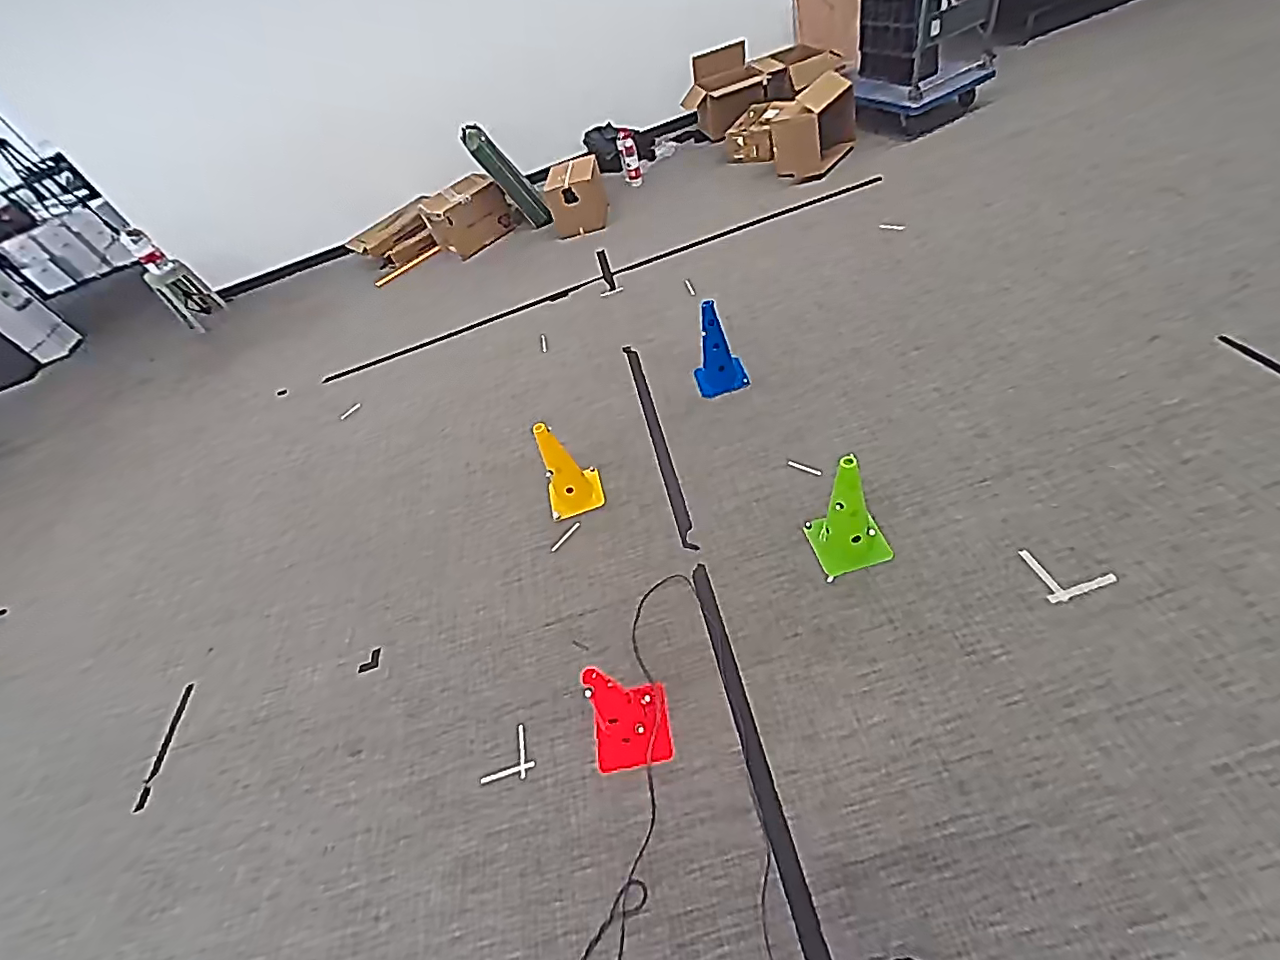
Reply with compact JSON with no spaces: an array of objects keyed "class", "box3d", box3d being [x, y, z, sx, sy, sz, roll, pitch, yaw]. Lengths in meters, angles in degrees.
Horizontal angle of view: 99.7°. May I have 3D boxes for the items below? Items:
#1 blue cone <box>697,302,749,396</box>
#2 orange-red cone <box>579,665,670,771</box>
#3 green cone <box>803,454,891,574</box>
[{"class":"blue cone","box3d":[0.300,-0.527,2.130,0.192,0.380,0.193,-15,47,6]},{"class":"orange-red cone","box3d":[-0.070,0.539,1.303,0.199,0.360,0.198,-16,45,8]},{"class":"green cone","box3d":[0.570,0.069,1.485,0.202,0.368,0.200,-17,46,3]}]
